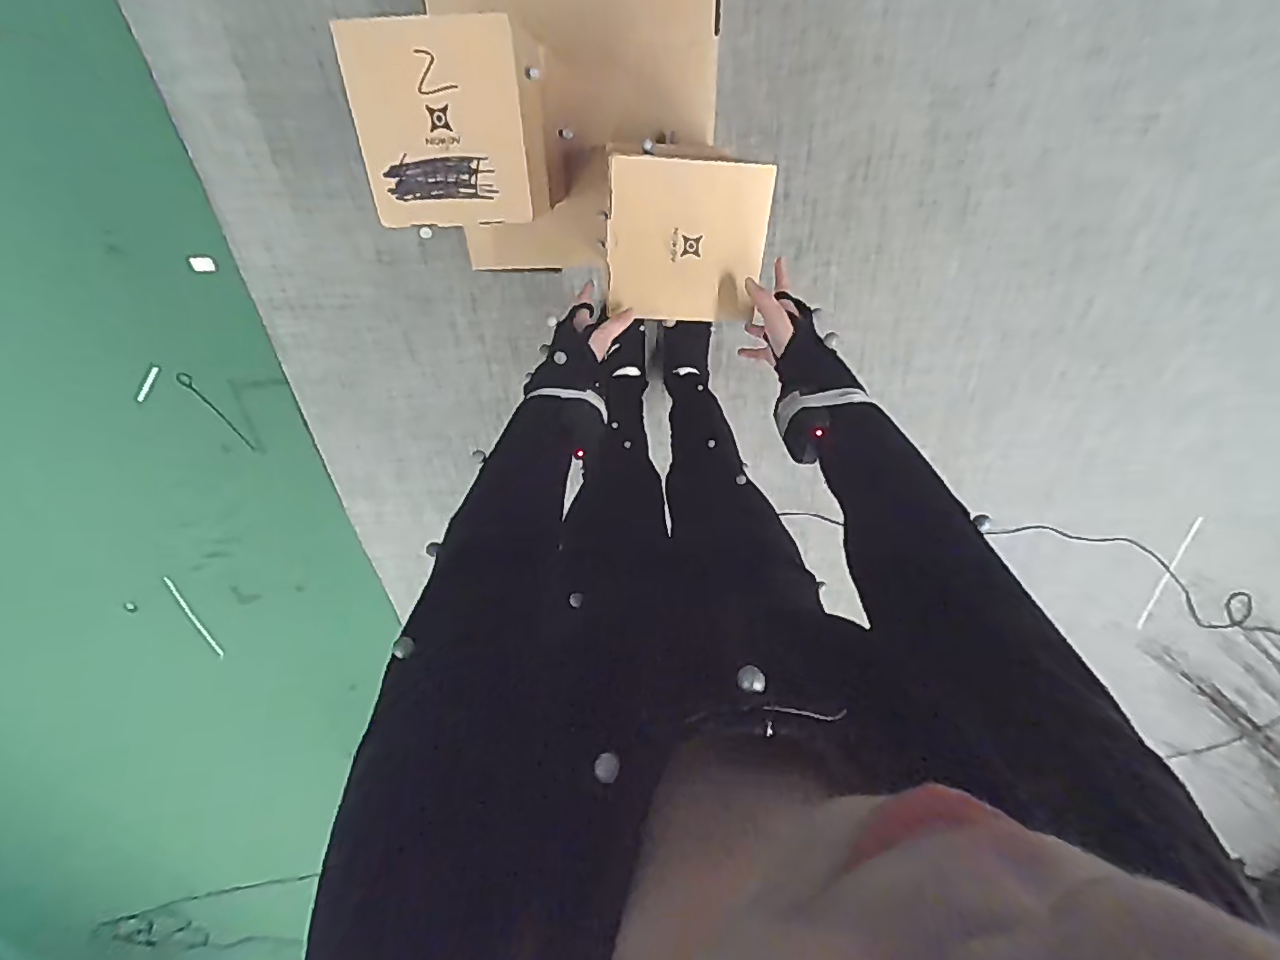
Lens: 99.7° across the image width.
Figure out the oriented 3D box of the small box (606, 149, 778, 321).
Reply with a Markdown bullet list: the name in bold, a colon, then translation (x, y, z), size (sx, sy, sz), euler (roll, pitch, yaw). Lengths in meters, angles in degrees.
- **small box**: translation (0.049, -0.301, 0.657), size (0.179, 0.176, 0.168), euler (1, 122, -3)

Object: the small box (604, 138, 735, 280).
- **small box**: translation (0.033, -0.393, 0.791), size (0.168, 0.176, 0.179), euler (1, 121, -3)

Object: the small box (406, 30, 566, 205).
- **small box**: translation (-0.193, -0.478, 0.734), size (0.168, 0.176, 0.179), euler (1, 121, -1)
